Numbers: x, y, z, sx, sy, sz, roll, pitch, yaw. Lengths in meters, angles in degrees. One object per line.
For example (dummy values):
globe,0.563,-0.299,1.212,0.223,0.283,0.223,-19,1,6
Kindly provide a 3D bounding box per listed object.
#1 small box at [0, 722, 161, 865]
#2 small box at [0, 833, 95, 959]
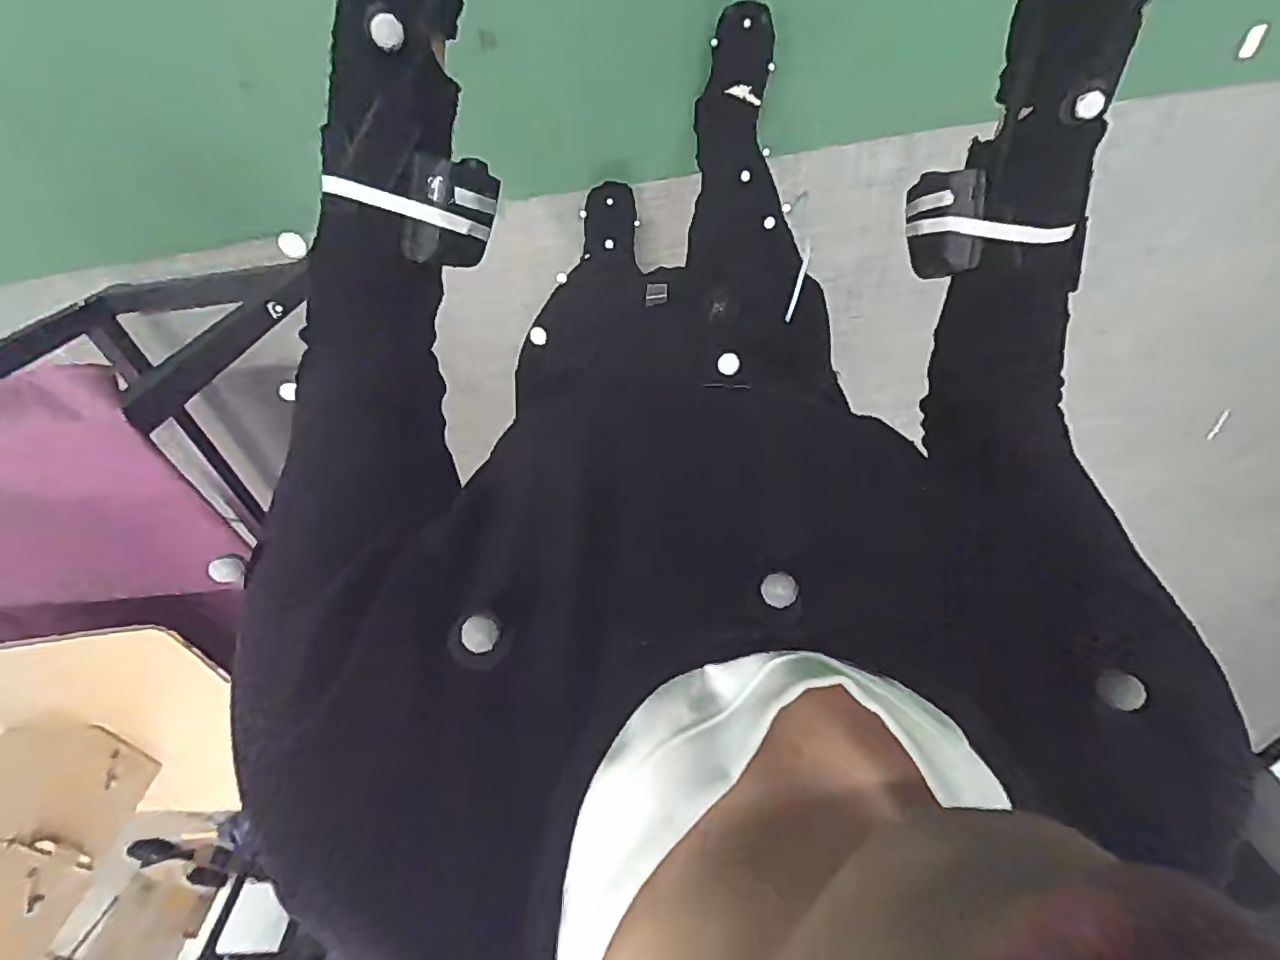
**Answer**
small box,-0.977,0.521,0.902,0.179,0.176,0.168,-3,131,4
small box,-0.975,0.628,0.778,0.179,0.176,0.168,-5,130,6
